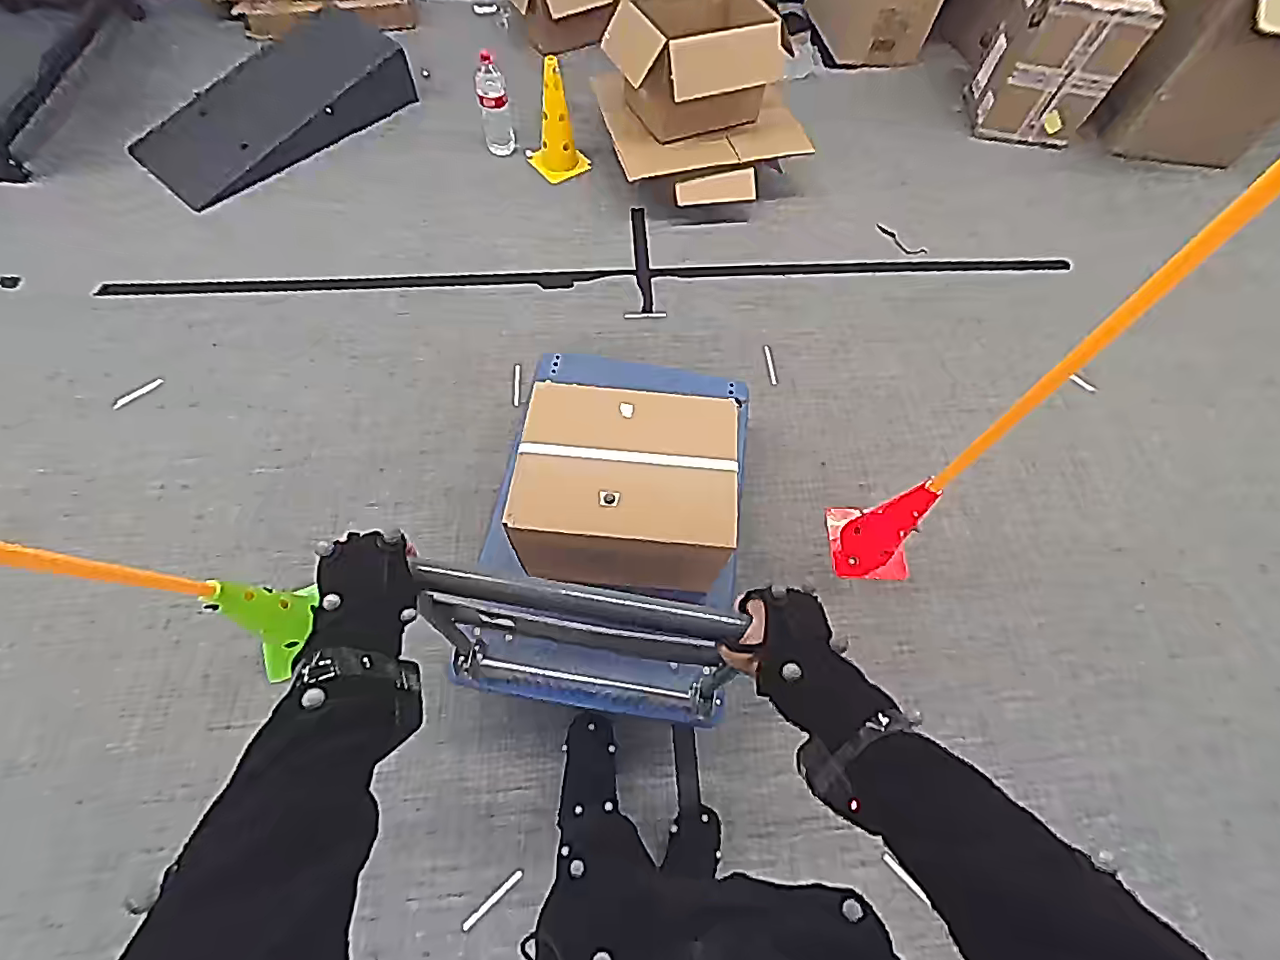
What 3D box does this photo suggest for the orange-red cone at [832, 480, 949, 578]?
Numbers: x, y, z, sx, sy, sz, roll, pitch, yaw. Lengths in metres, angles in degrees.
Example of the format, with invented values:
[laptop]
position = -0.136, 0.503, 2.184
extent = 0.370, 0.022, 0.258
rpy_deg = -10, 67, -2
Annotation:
[orange-red cone]
position = 0.629, 0.090, 1.301
extent = 0.199, 0.360, 0.198
rpy_deg = 4, 64, -2
